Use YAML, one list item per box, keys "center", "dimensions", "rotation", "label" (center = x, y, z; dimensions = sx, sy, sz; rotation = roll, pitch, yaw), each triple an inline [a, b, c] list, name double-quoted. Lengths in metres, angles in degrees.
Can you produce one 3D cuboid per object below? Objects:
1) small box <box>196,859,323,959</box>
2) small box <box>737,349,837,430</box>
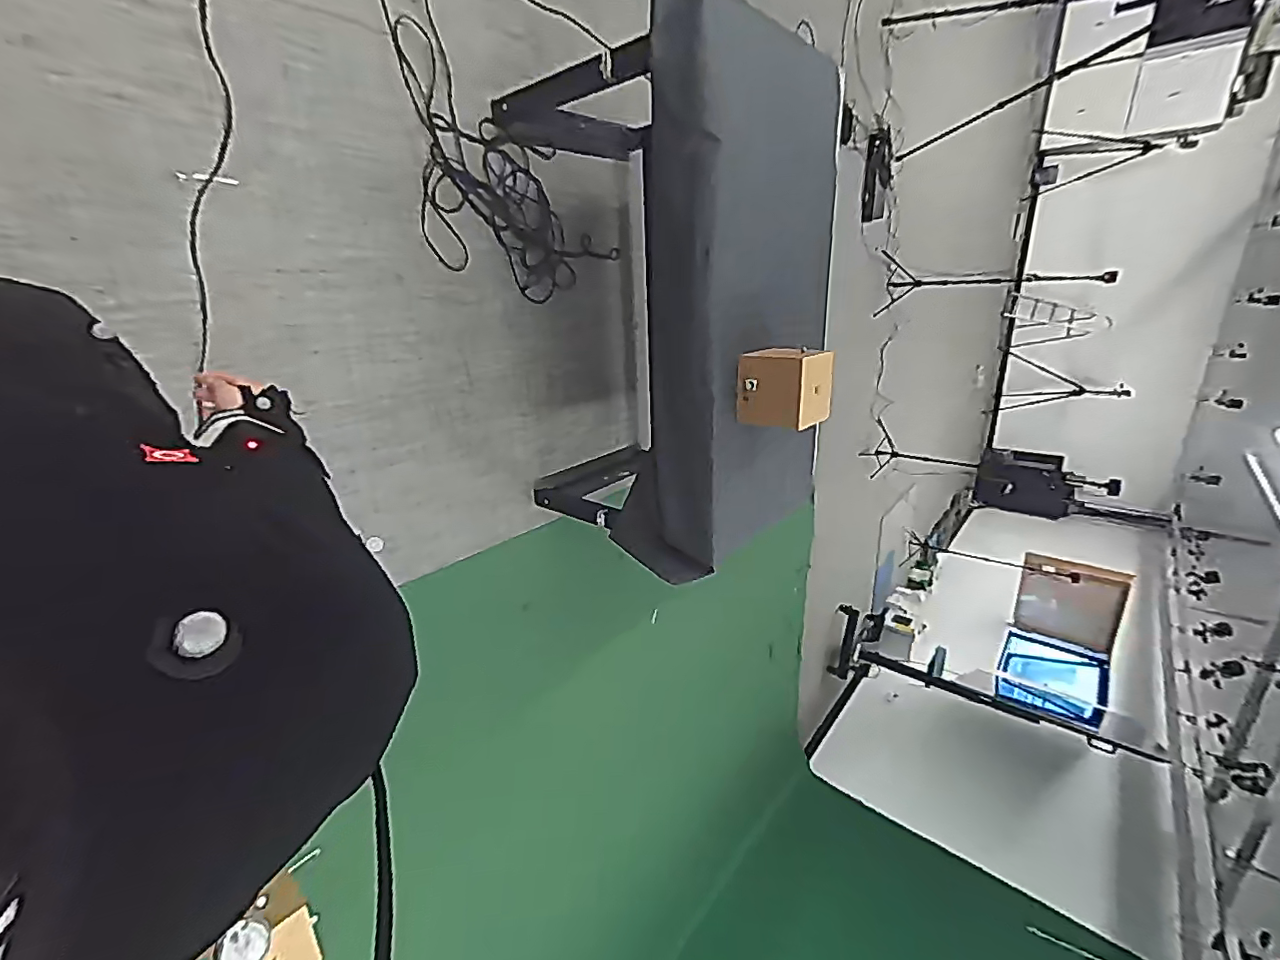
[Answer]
- center: [-0.818, 0.967, 1.162]
  dimensions: [0.168, 0.176, 0.179]
  rotation: [-21, 117, -46]
  label: "small box"
- center: [0.353, -0.225, 1.305]
  dimensions: [0.179, 0.176, 0.168]
  rotation: [-22, 117, -45]
  label: "small box"
